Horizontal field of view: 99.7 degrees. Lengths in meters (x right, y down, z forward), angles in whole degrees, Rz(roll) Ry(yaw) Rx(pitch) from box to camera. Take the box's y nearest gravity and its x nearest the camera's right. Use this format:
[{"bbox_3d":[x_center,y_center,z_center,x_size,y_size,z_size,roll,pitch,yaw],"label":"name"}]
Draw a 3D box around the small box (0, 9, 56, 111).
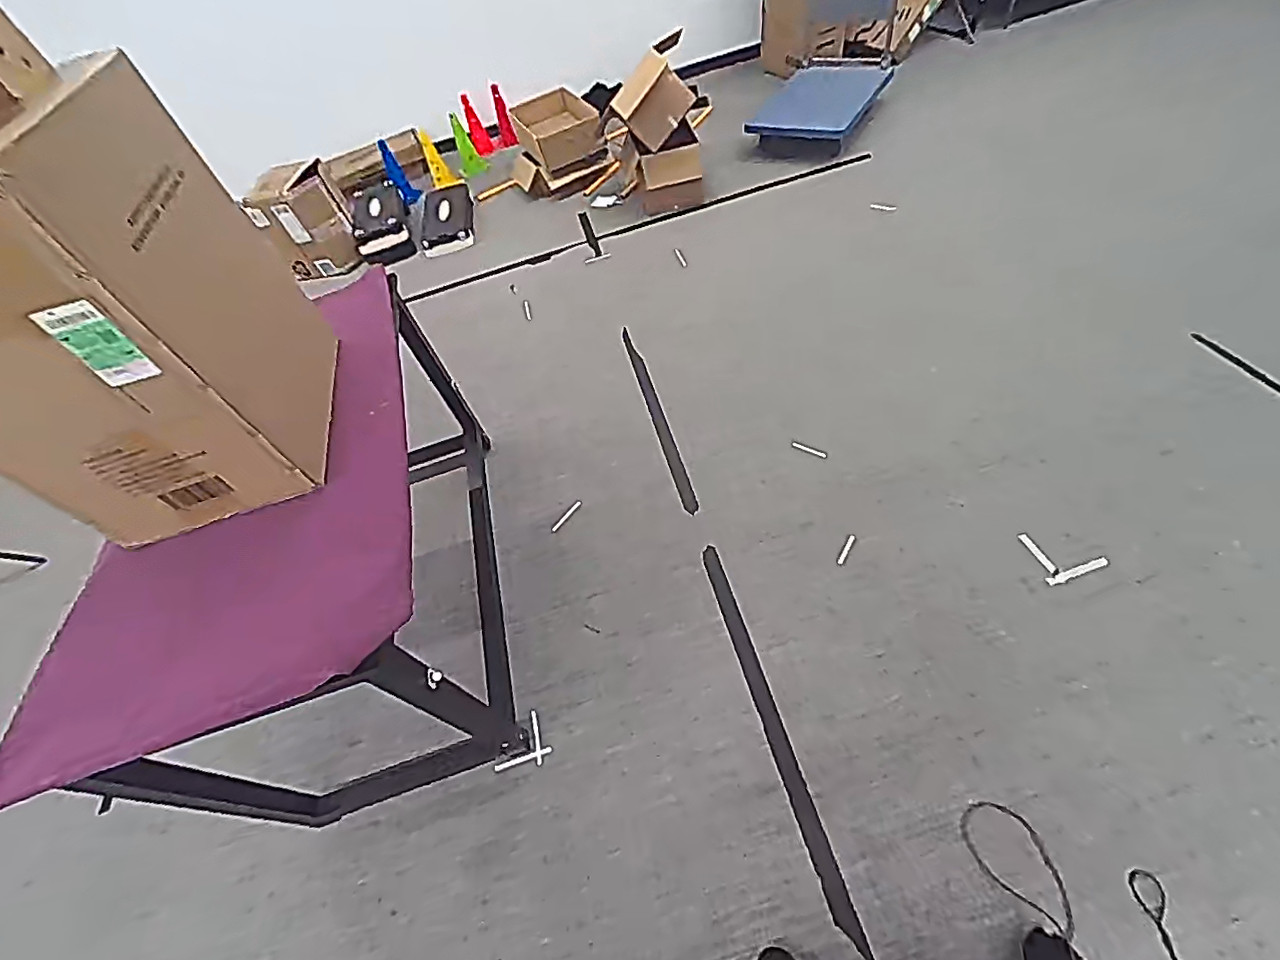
[{"bbox_3d":[-1.022,-0.623,0.768,0.179,0.176,0.168,-21,53,-5],"label":"small box"}]
